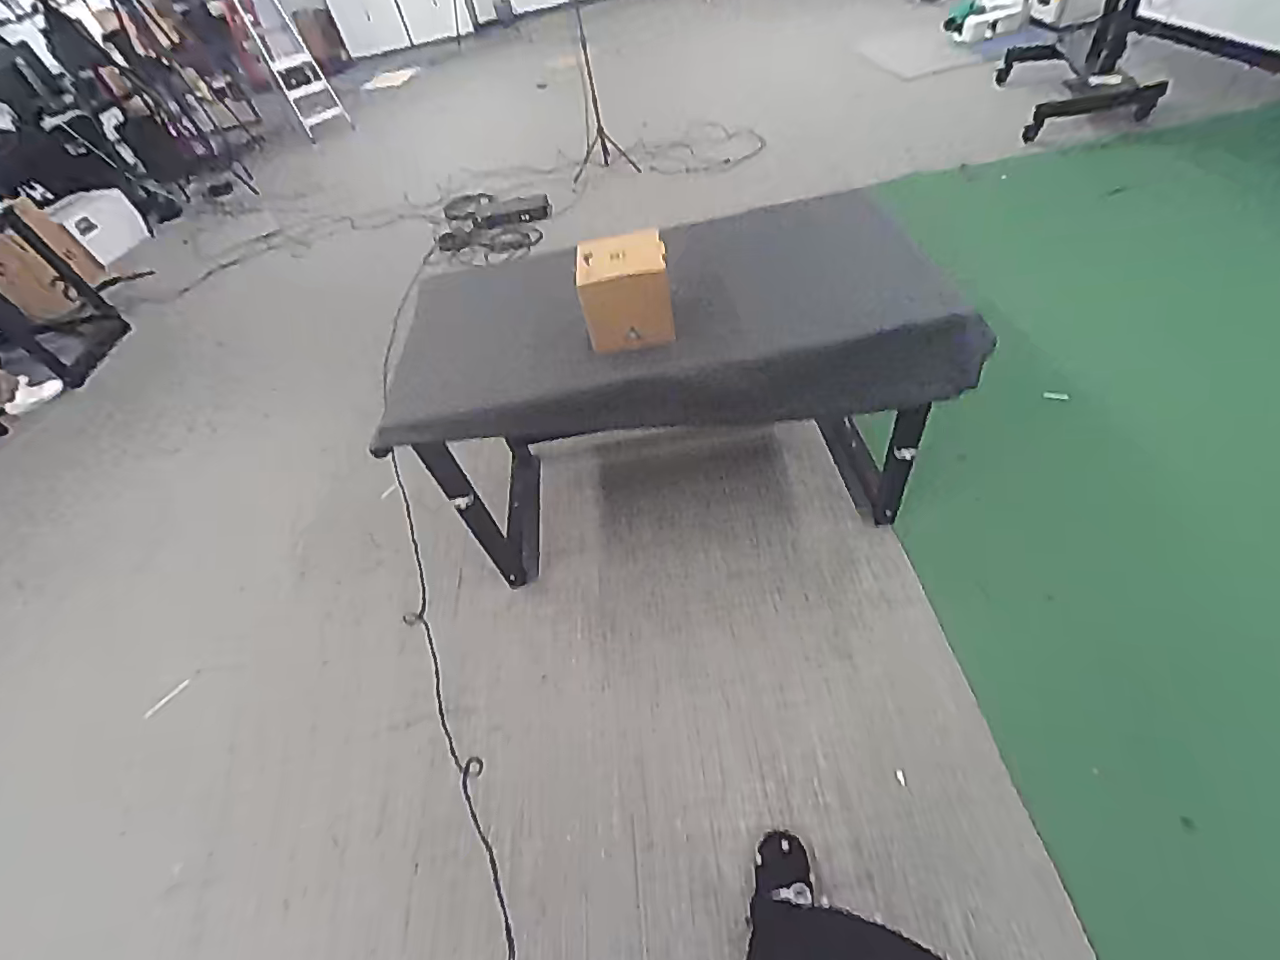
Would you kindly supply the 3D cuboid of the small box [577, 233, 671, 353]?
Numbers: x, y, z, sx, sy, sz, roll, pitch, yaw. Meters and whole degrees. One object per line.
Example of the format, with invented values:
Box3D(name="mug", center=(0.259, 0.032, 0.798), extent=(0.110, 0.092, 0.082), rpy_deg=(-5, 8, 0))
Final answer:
Box3D(name="small box", center=(-0.029, -0.391, 1.141), extent=(0.179, 0.176, 0.168), rpy_deg=(-8, 48, 4))
